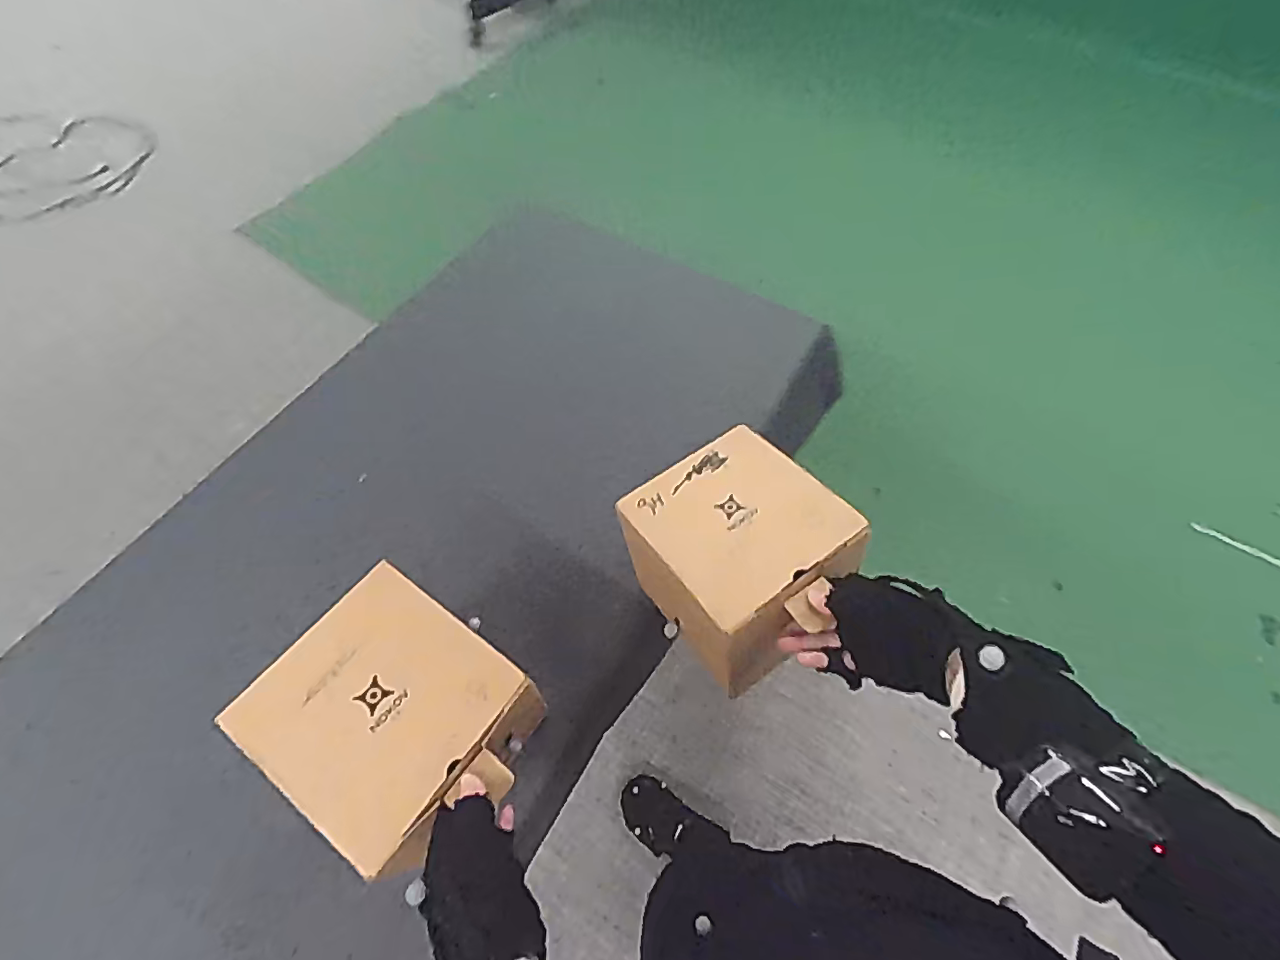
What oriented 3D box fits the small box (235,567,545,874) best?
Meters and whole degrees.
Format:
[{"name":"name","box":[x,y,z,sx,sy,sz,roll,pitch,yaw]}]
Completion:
[{"name":"small box","box":[-0.207,0.218,0.504,0.179,0.176,0.168,32,61,16]}]

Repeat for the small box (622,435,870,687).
[{"name":"small box","box":[0.104,0.092,0.569,0.168,0.176,0.179,-30,52,-15]}]
